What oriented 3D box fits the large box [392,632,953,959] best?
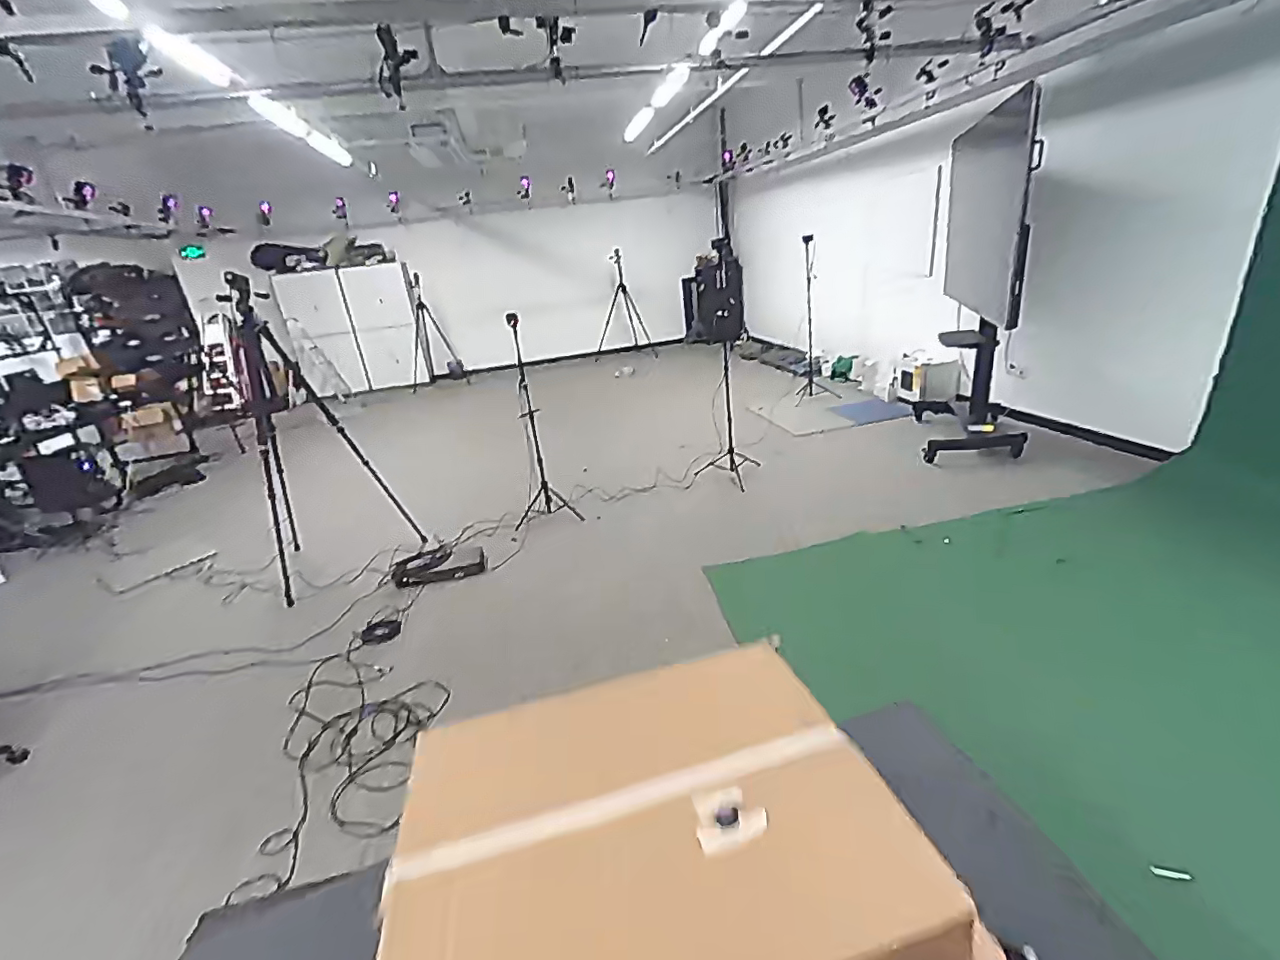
[{"bbox_3d":[0.015,0.409,0.533,0.408,0.320,0.320,-11,22,-11],"label":"large box"}]
